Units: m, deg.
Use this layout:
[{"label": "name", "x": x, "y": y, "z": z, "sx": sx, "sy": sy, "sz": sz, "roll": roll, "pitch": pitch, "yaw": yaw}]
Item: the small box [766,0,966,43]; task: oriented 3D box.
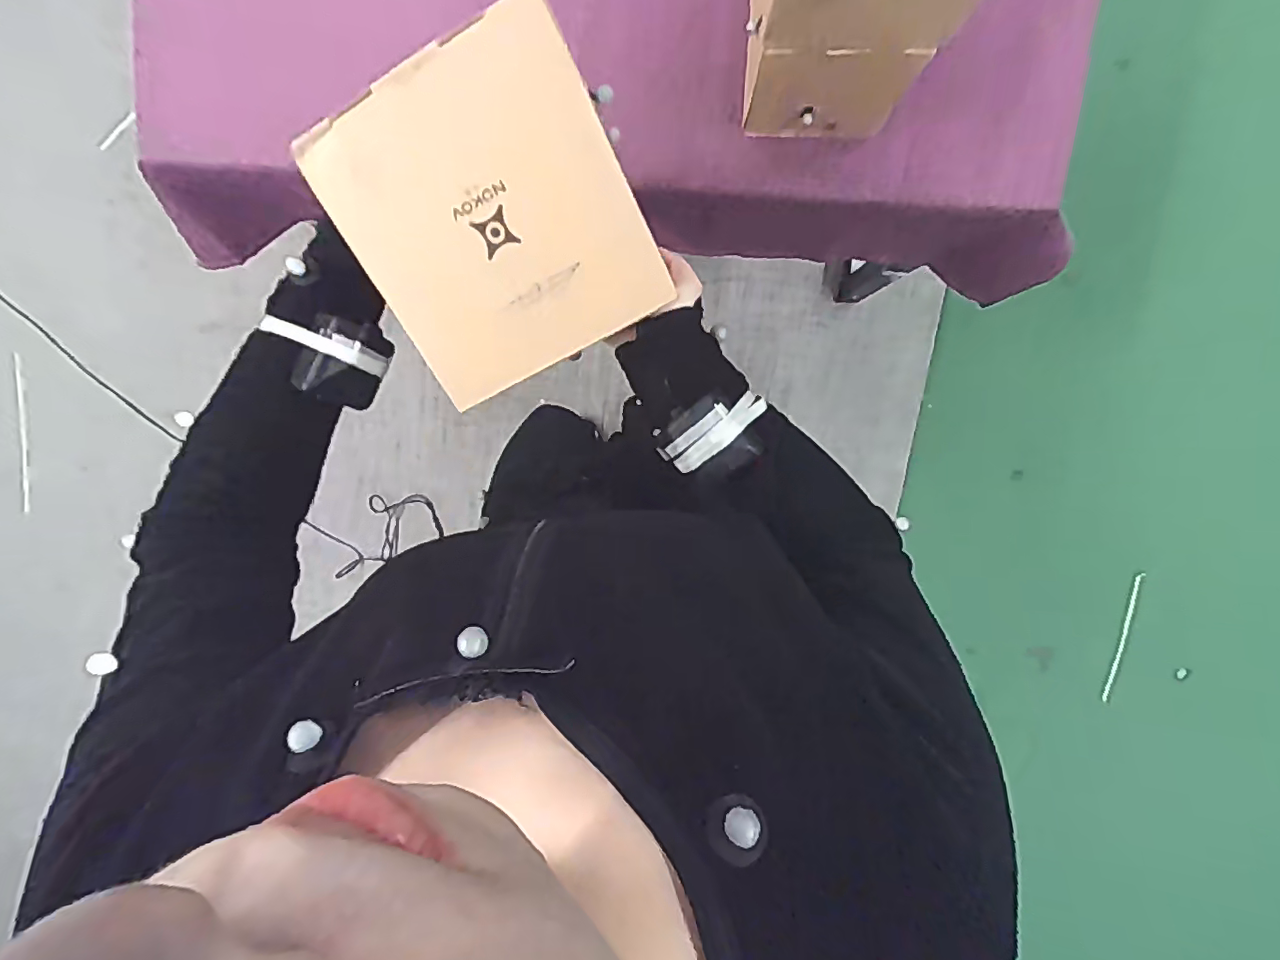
[{"label": "small box", "x": 0.201, "y": -0.486, "z": 0.427, "sx": 0.179, "sy": 0.176, "sz": 0.168, "roll": 3, "pitch": 99, "yaw": 4}]

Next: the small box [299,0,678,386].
[{"label": "small box", "x": -0.085, "y": -0.196, "z": 0.393, "sx": 0.168, "sy": 0.176, "sz": 0.179, "roll": -24, "pitch": 112, "yaw": 11}]

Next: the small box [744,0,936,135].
[{"label": "small box", "x": 0.210, "y": -0.512, "z": 0.589, "sx": 0.168, "sy": 0.176, "sz": 0.179, "roll": 3, "pitch": 99, "yaw": 3}]
